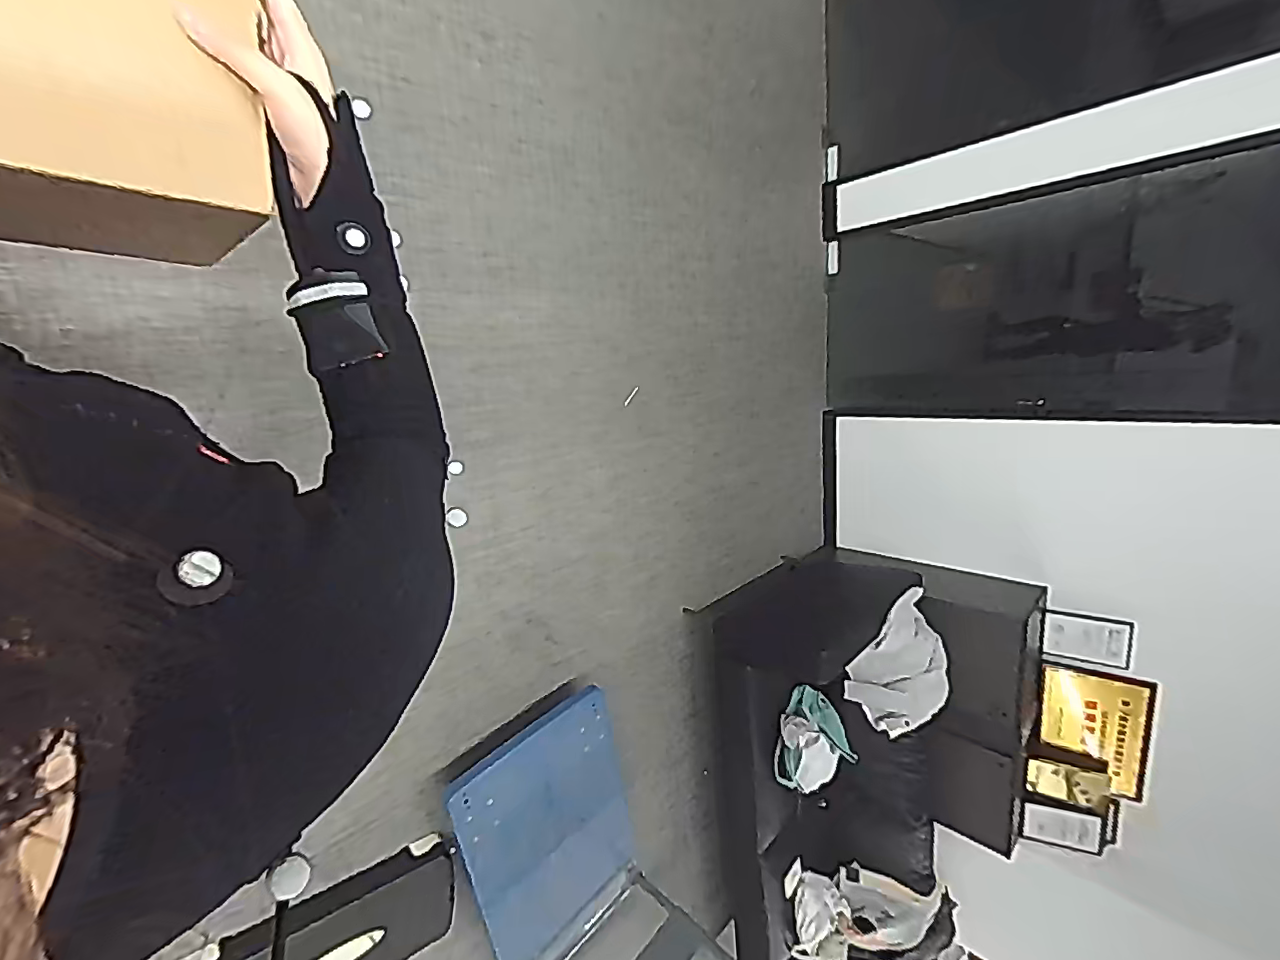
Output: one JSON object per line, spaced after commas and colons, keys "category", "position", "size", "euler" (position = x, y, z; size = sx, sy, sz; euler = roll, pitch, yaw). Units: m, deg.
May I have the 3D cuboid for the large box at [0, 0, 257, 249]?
{"category": "large box", "position": [-0.506, -0.341, 0.318], "size": [0.408, 0.320, 0.320], "euler": [-9, 106, -42]}
